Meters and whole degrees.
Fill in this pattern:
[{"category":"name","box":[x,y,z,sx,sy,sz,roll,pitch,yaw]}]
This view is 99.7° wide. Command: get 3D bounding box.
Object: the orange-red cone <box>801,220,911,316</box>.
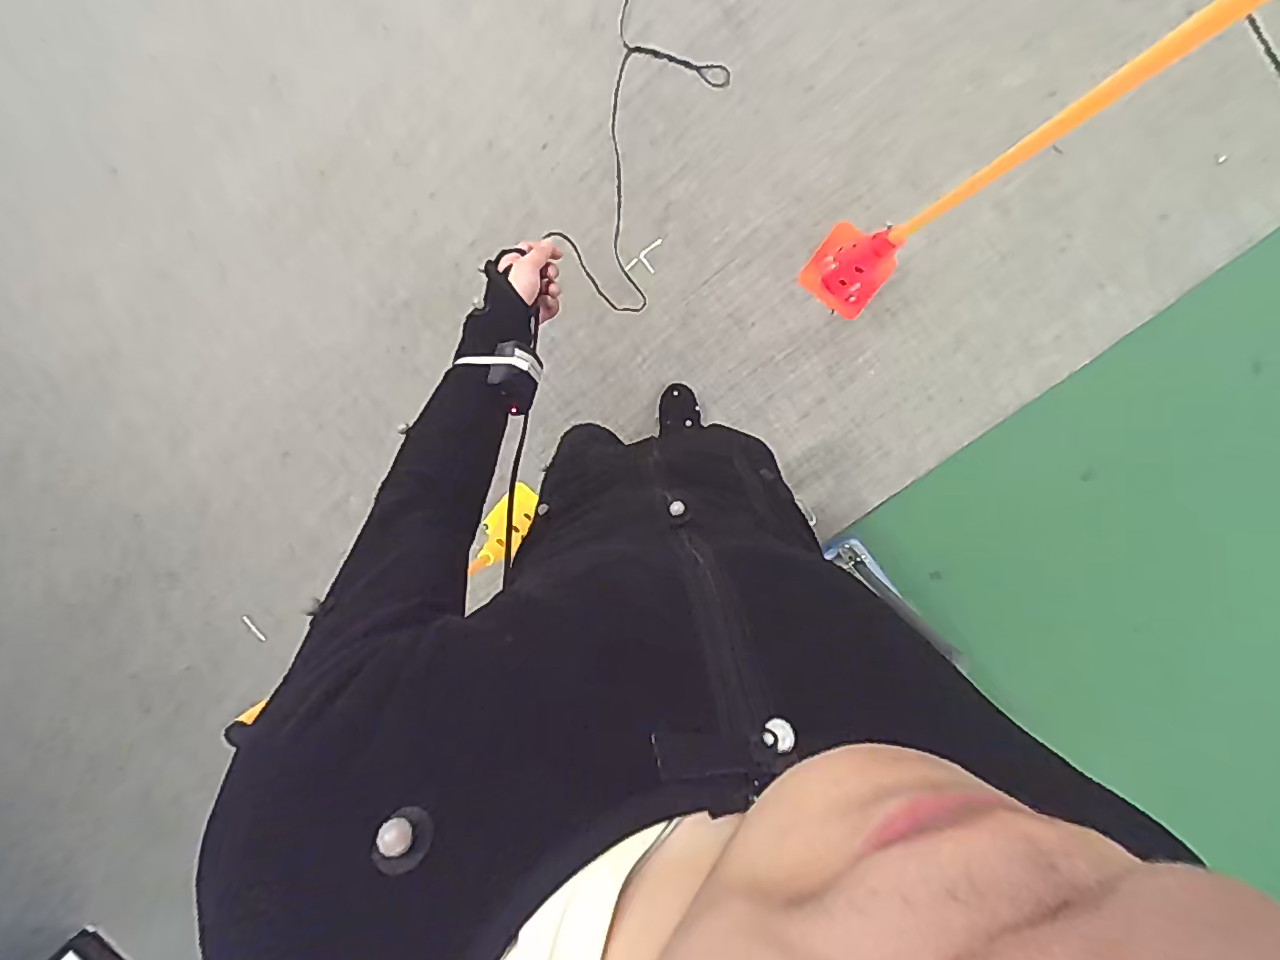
[{"category":"orange-red cone","box":[0.559,-0.550,1.307,0.198,0.360,0.199,37,99,-3]}]
